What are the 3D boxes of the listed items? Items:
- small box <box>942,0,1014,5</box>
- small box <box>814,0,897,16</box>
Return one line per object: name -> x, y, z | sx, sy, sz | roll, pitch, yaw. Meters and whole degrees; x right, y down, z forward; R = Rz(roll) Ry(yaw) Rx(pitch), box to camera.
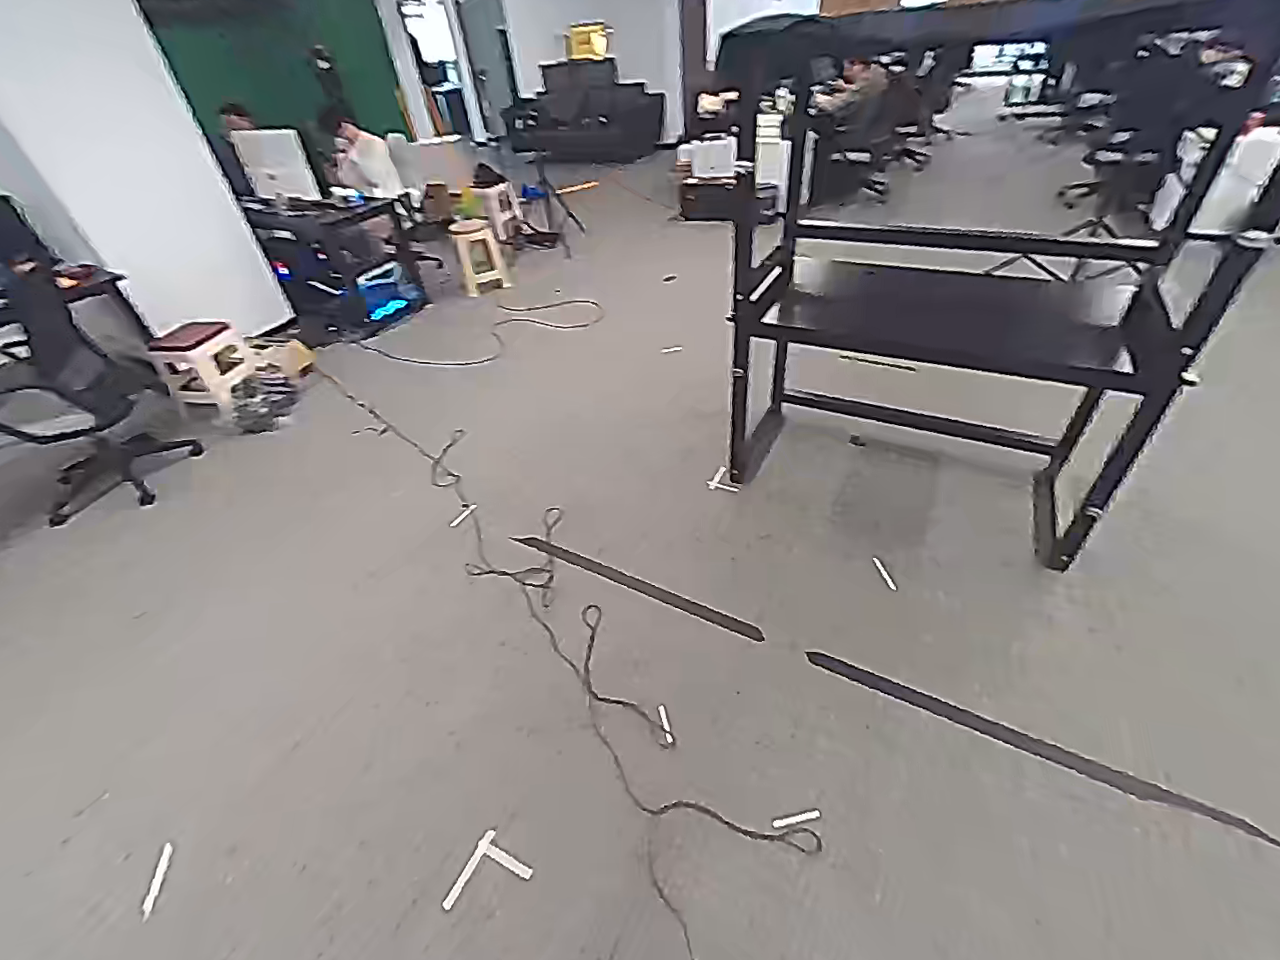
small box -> 0.749, -1.110, 1.128 | 0.168, 0.176, 0.179 | 17, 43, 26
small box -> 0.510, -1.178, 1.241 | 0.168, 0.176, 0.179 | 17, 44, 23
